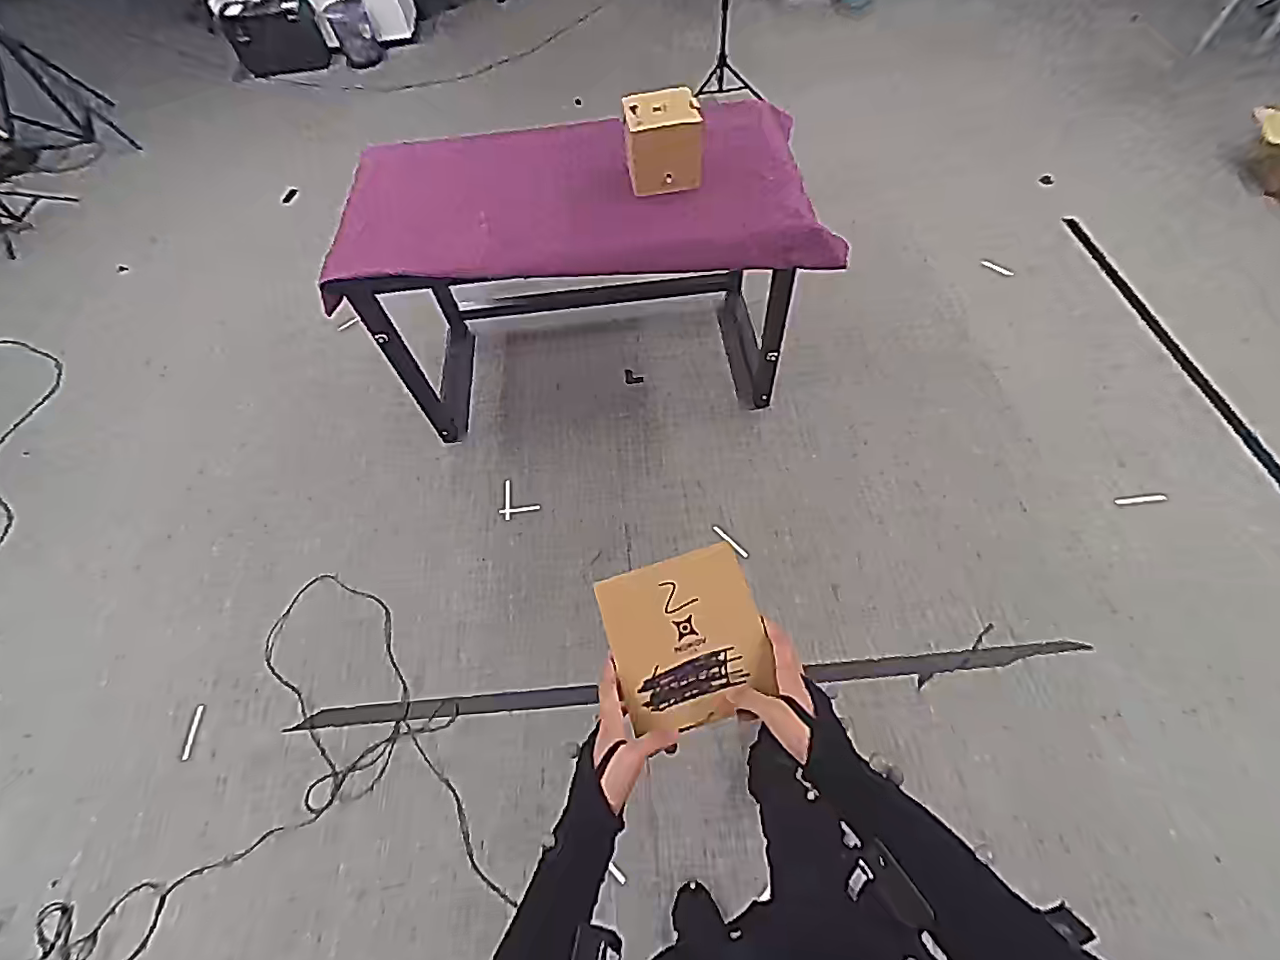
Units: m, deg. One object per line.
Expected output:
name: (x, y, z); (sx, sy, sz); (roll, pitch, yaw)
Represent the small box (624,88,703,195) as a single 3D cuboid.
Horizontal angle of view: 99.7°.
small box: (0.058, -0.858, 1.377); (0.179, 0.176, 0.168); (-9, 59, -1)
